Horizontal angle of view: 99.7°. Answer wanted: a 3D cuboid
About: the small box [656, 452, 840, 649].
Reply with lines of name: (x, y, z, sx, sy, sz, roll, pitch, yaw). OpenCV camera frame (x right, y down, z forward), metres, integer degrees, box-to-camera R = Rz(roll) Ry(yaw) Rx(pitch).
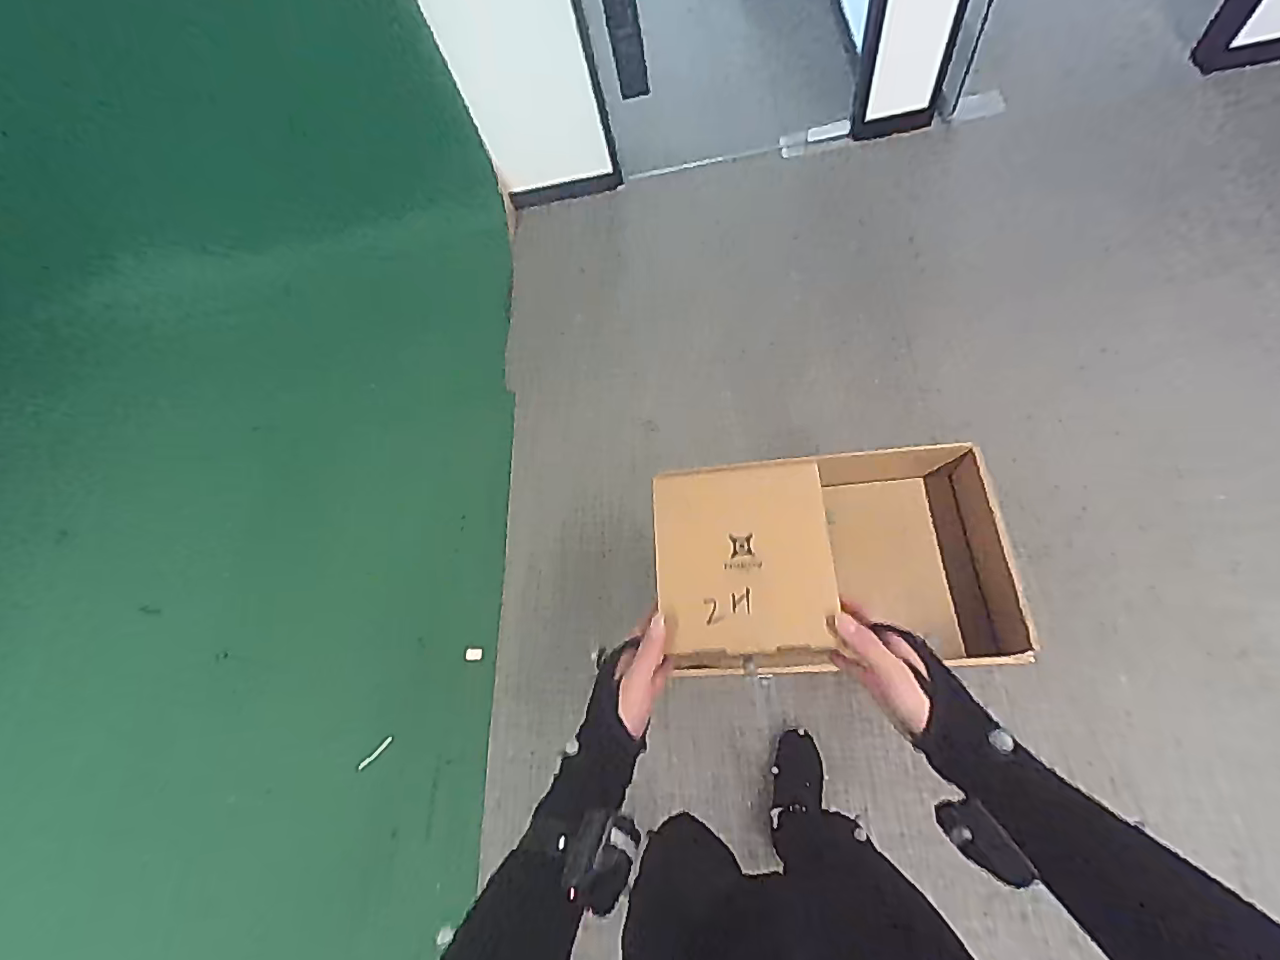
small box: (0.109, 0.086, 0.591, 0.168, 0.176, 0.179, -5, 69, 9)
